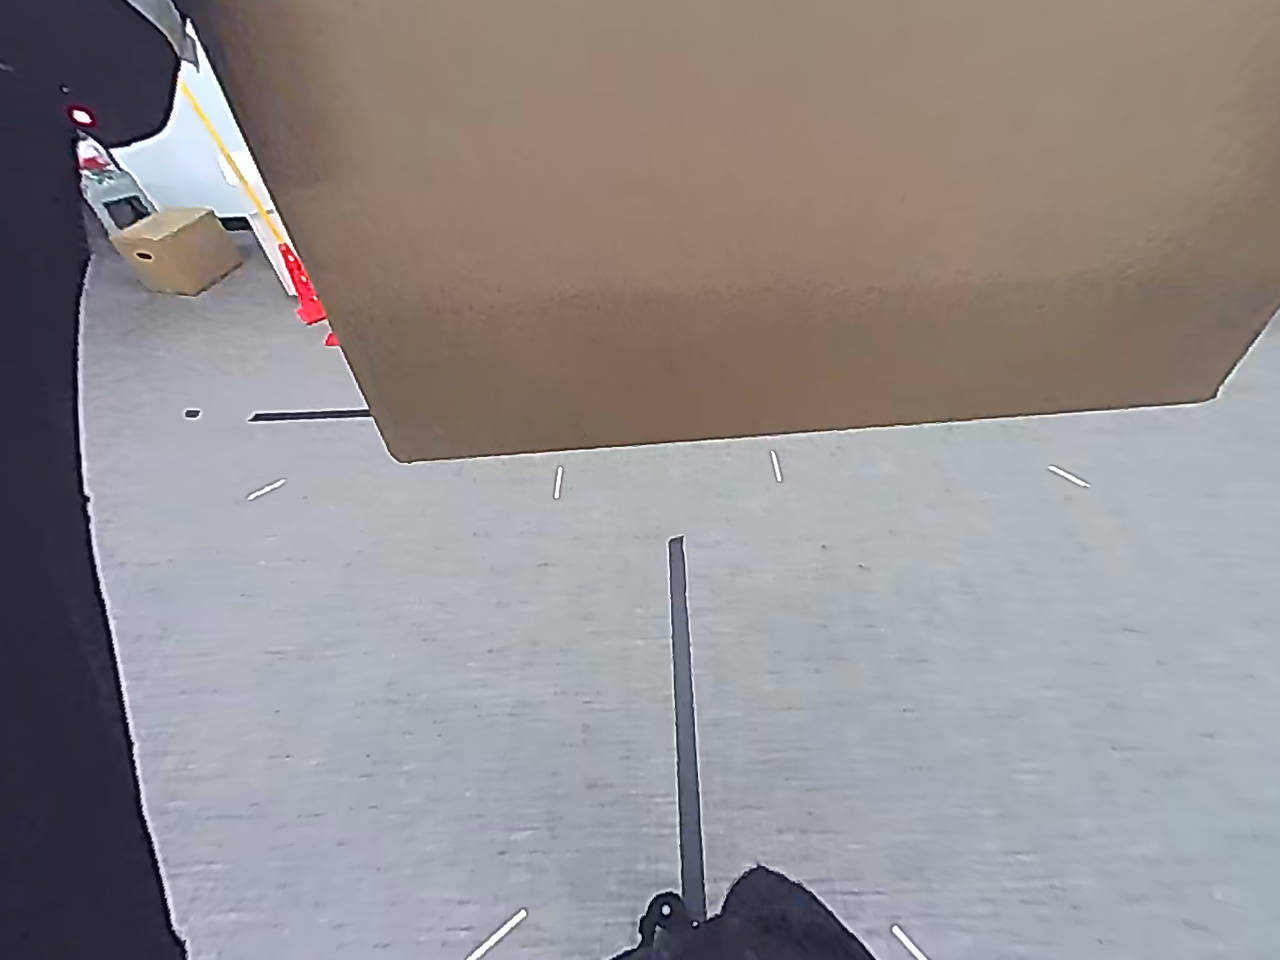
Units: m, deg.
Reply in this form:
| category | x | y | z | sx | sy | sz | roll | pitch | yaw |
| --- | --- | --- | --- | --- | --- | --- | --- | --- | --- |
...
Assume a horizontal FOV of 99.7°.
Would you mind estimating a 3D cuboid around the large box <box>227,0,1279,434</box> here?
| category | x | y | z | sx | sy | sz | roll | pitch | yaw |
| --- | --- | --- | --- | --- | --- | --- | --- | --- | --- |
| large box | 0.060 | -0.245 | 0.288 | 0.408 | 0.320 | 0.320 | -4 | 41 | -1 |
